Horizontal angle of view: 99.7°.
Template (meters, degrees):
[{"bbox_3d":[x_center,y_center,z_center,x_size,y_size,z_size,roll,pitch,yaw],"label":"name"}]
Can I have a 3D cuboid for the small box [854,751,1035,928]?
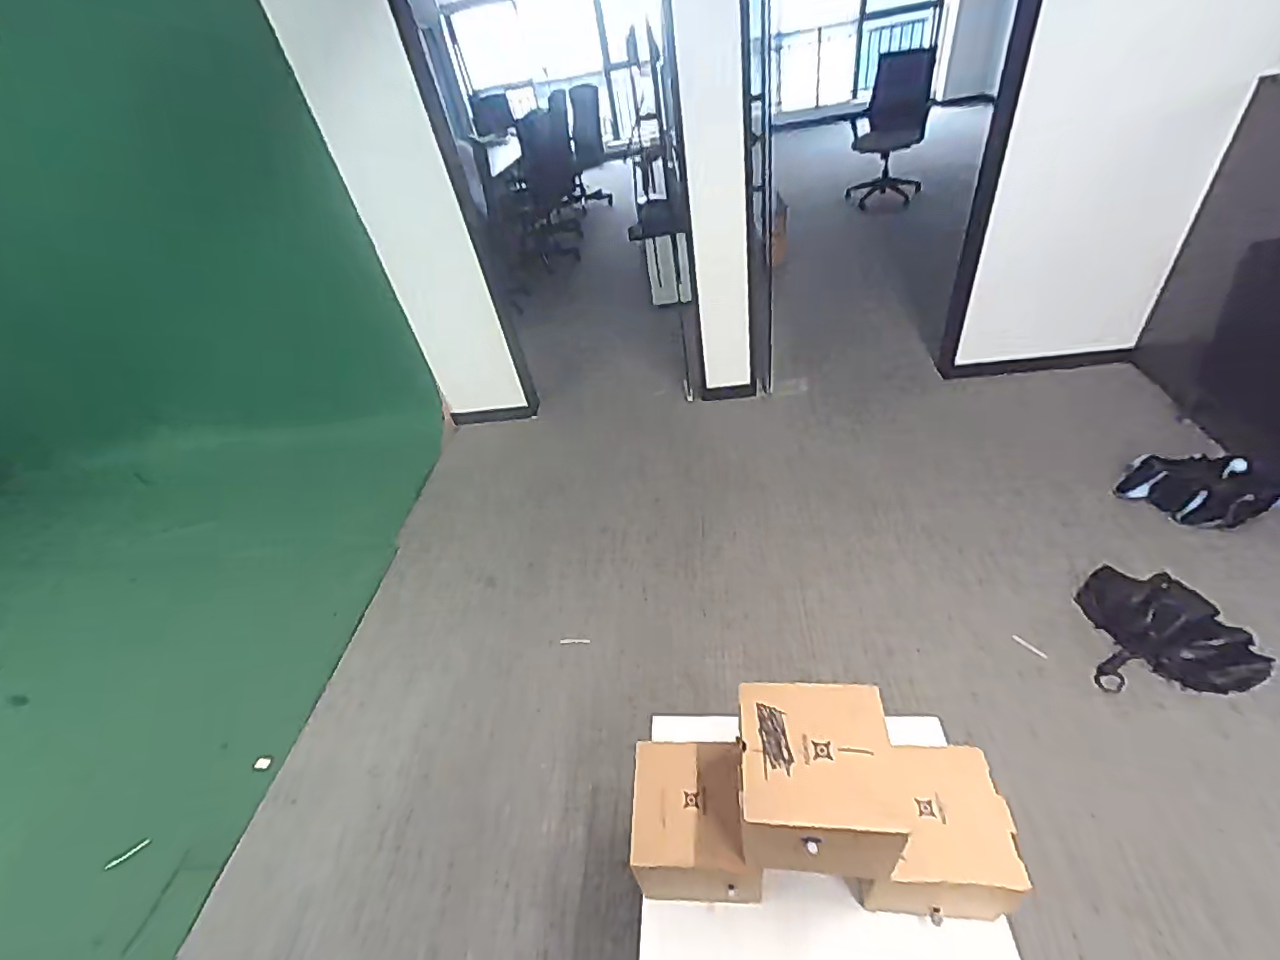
[{"bbox_3d":[0.391,0.496,0.749,0.179,0.176,0.168,-3,39,8],"label":"small box"}]

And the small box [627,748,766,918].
[{"bbox_3d":[0.080,0.510,0.784,0.179,0.176,0.168,-4,38,5],"label":"small box"}]

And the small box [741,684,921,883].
[{"bbox_3d":[0.218,0.373,0.668,0.179,0.176,0.168,-2,40,8],"label":"small box"}]
